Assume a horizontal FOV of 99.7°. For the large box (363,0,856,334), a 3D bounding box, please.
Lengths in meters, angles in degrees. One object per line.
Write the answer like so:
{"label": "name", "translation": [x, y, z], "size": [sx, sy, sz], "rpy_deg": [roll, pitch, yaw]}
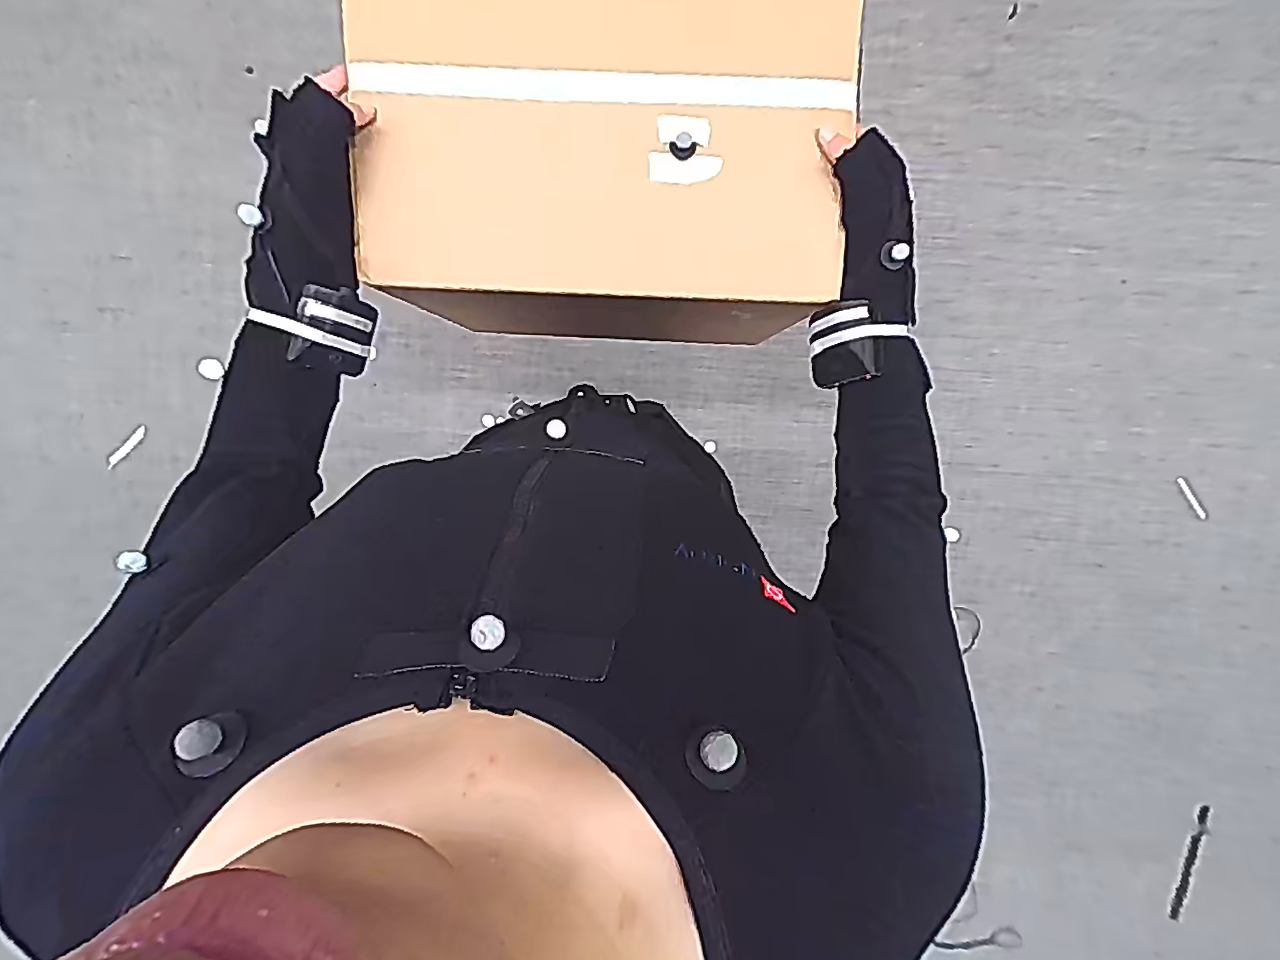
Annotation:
{"label": "large box", "translation": [-0.029, -0.340, 0.588], "size": [0.408, 0.320, 0.320], "rpy_deg": [2, 98, -1]}
